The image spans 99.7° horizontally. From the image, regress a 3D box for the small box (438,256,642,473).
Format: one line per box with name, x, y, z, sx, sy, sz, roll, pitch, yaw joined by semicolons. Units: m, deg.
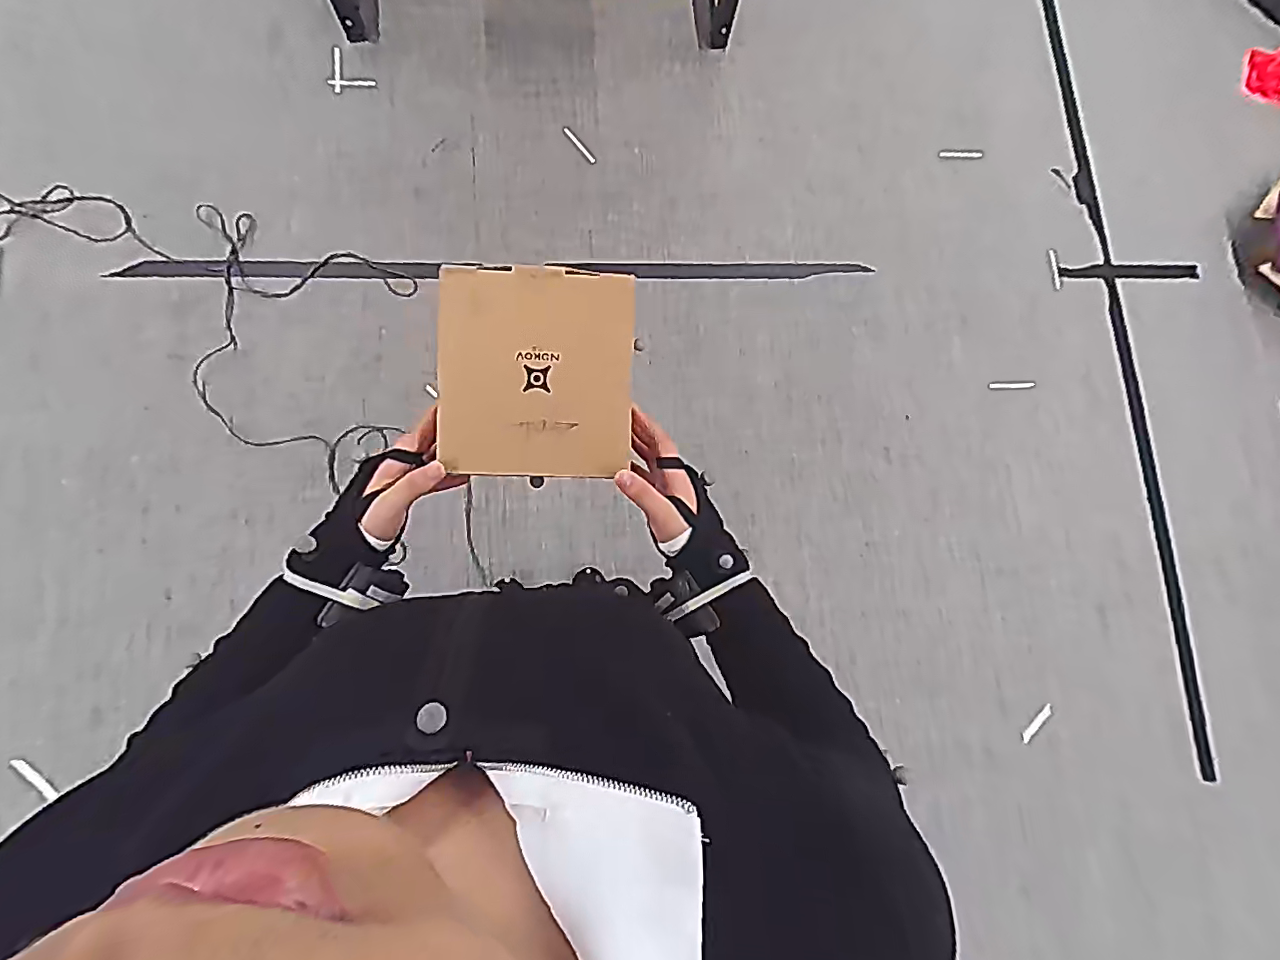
small box;-0.090;-0.099;0.535;0.168;0.176;0.179;2;93;-4
